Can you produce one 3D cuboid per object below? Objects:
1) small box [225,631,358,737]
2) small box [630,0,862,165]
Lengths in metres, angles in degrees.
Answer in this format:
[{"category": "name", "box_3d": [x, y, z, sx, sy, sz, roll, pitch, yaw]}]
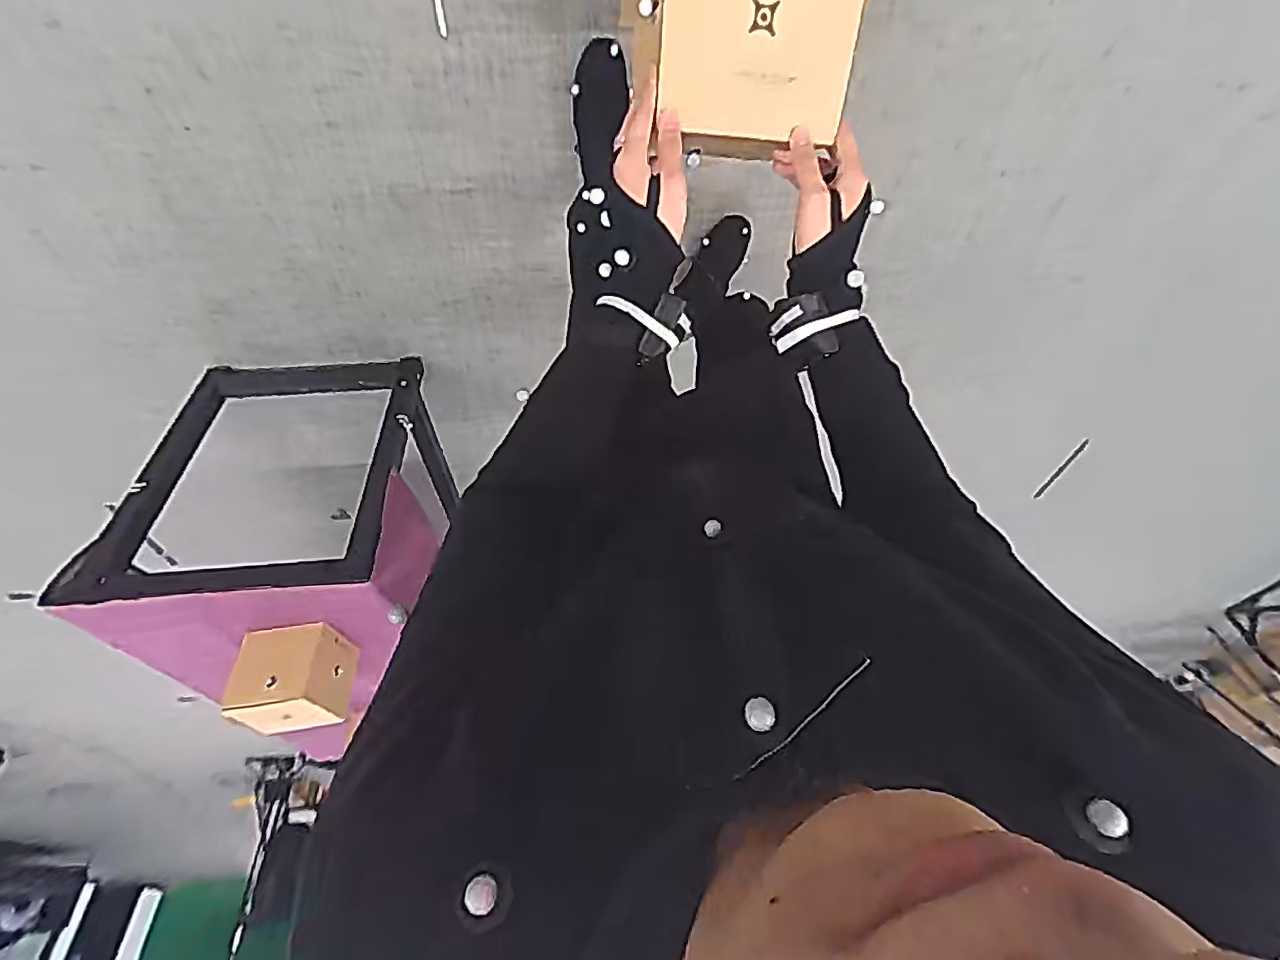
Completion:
[{"category": "small box", "box_3d": [-0.747, 0.445, 1.188, 0.179, 0.176, 0.168, -8, 141, 1]}, {"category": "small box", "box_3d": [0.085, -0.407, 0.500, 0.168, 0.176, 0.179, 0, 115, -9]}]
